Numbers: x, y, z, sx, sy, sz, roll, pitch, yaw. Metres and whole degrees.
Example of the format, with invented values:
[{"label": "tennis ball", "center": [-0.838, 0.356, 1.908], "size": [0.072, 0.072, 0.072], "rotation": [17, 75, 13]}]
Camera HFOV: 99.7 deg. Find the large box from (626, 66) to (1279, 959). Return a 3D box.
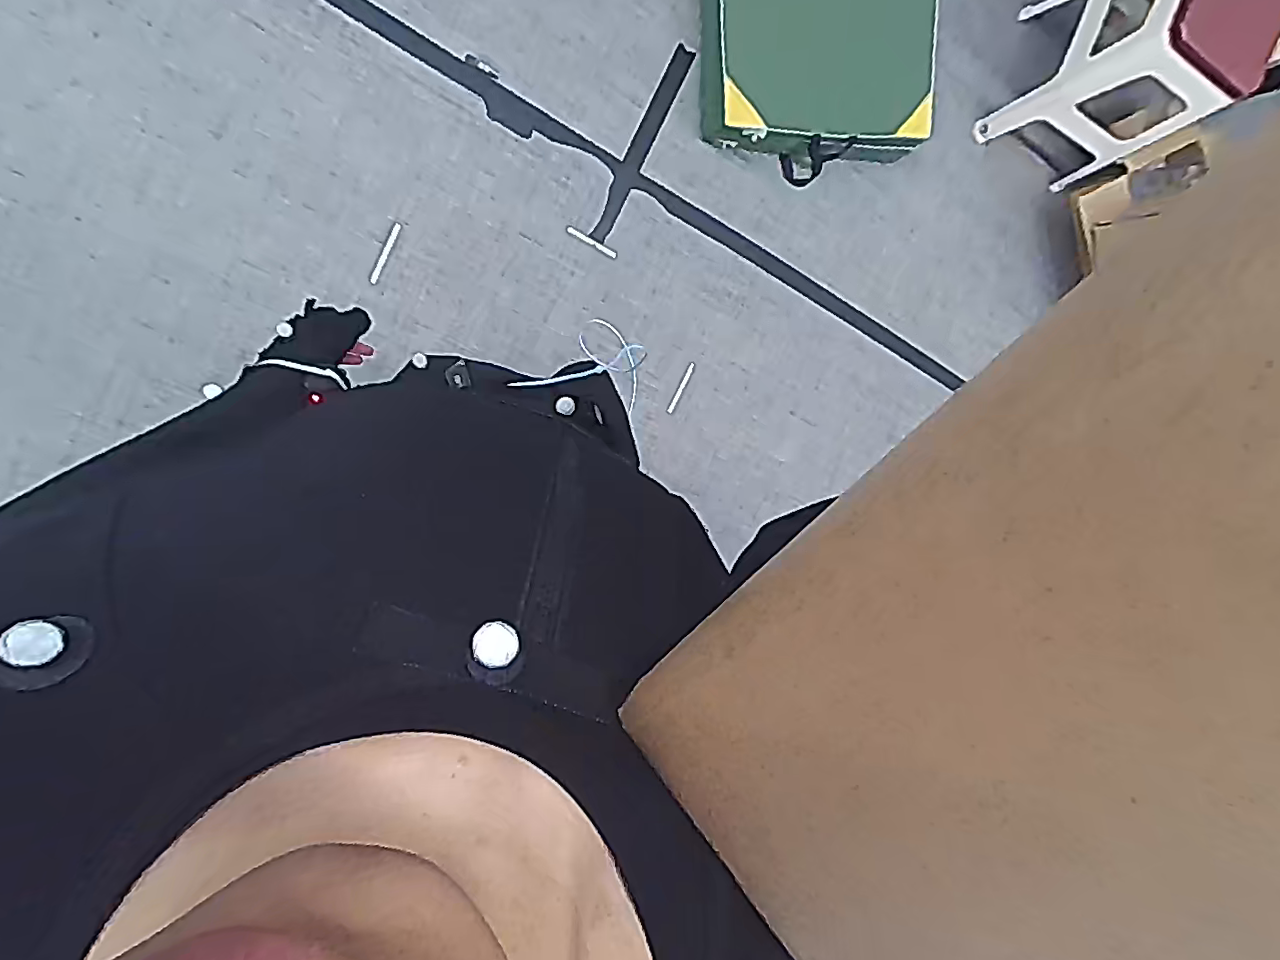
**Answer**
[{"label": "large box", "center": [0.275, 0.034, 0.180], "size": [0.408, 0.320, 0.320], "rotation": [-28, 73, -37]}]
